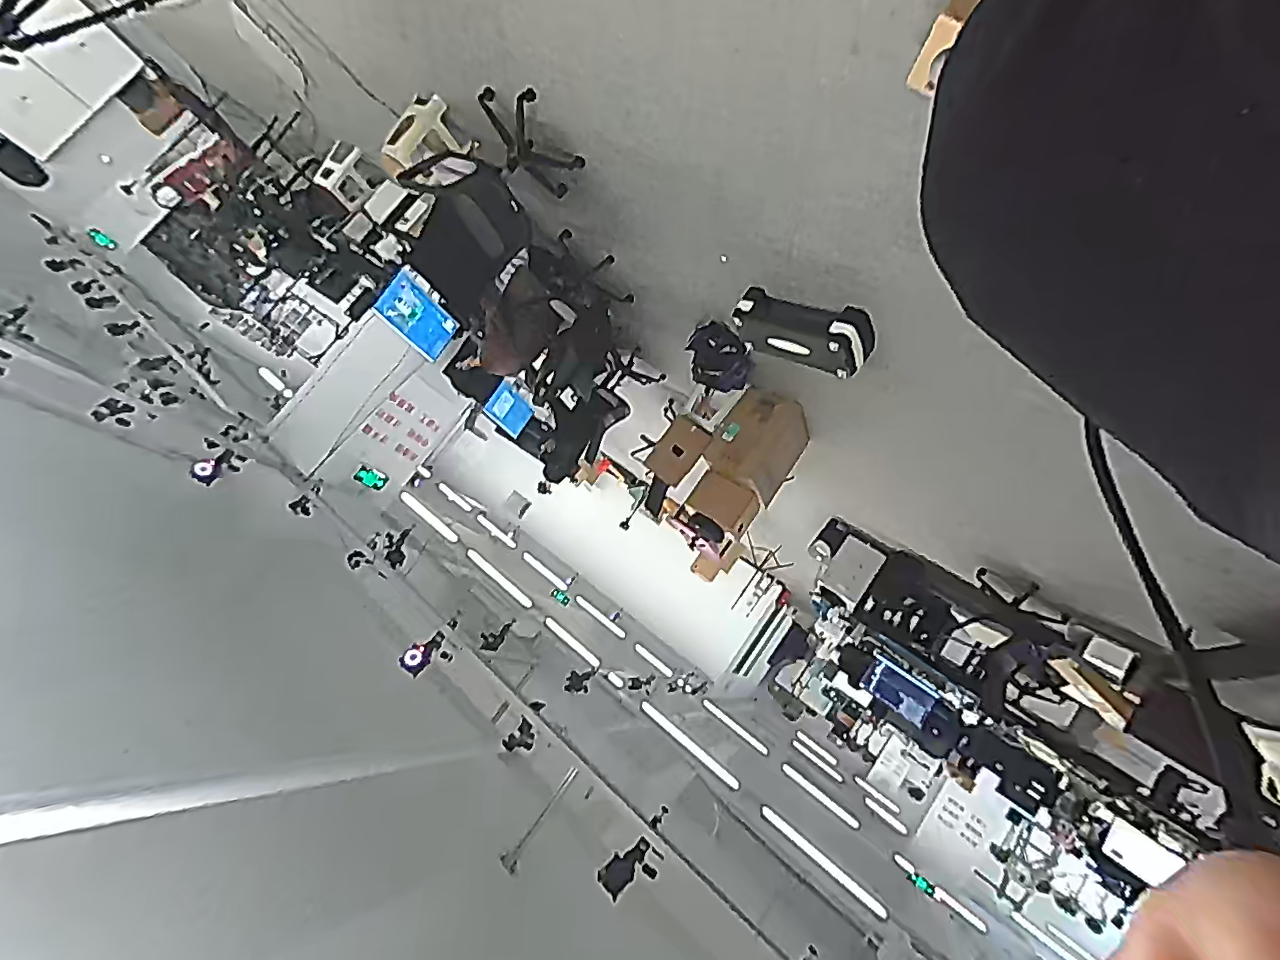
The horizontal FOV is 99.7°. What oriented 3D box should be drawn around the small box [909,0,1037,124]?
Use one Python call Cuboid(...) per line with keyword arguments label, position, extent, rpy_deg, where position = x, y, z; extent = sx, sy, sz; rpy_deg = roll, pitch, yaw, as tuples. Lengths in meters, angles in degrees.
Cuboid(label="small box", position=(0.773, -0.993, 1.255), extent=(0.168, 0.176, 0.179), rpy_deg=(34, 171, 9))
